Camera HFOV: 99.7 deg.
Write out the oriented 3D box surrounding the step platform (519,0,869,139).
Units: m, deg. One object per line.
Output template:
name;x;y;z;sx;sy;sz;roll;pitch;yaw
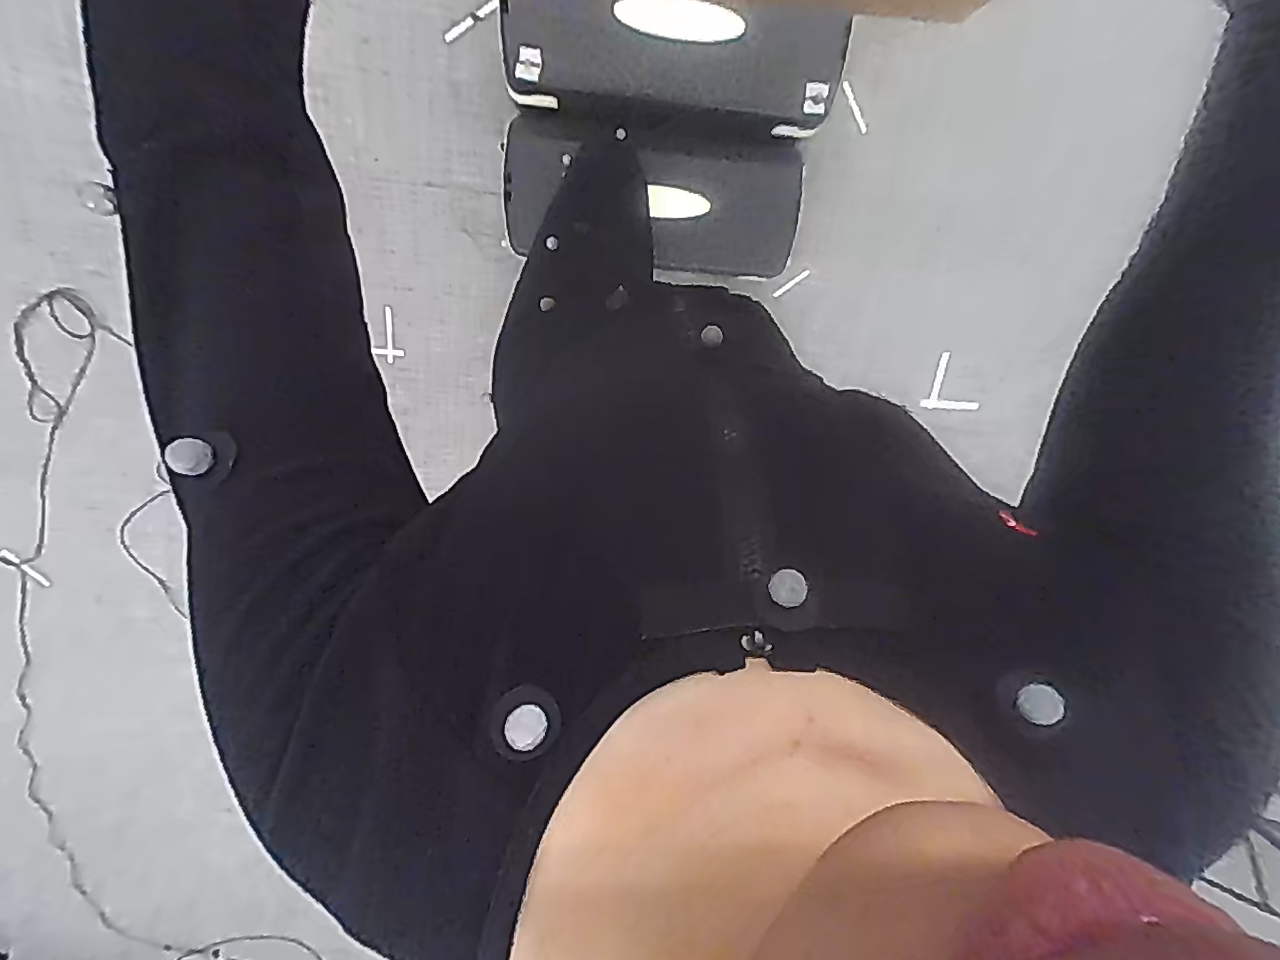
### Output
step platform;0.103;-0.903;1.100;0.684;0.204;0.286;2;111;-6
